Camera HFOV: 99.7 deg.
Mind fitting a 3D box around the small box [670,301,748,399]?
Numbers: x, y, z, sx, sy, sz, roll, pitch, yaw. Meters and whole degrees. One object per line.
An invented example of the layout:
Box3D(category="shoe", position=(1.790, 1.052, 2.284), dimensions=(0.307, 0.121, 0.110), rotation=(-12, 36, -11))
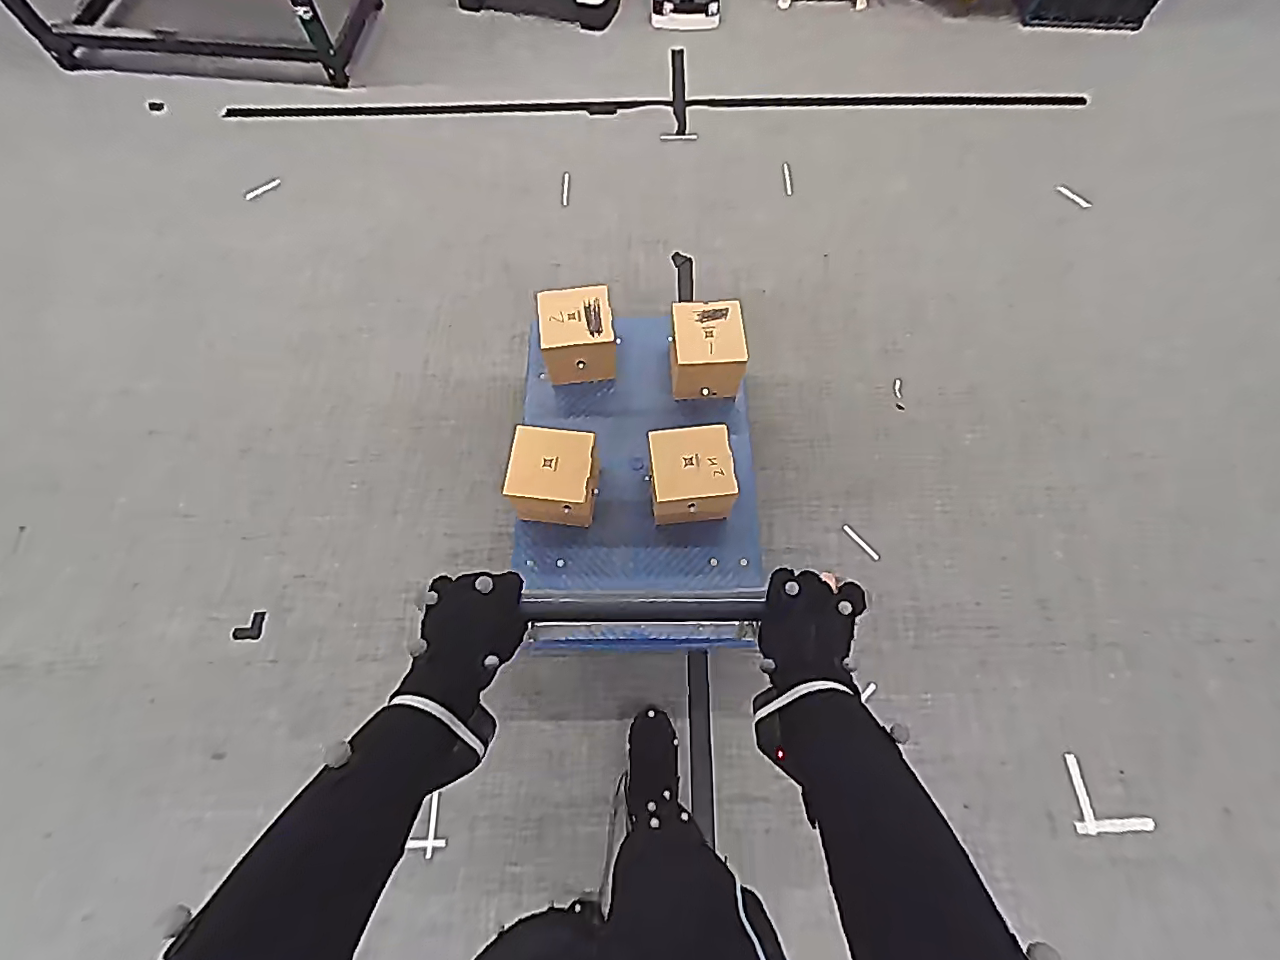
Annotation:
Box3D(category="small box", position=(0.164, -0.319, 1.343), dimensions=(0.168, 0.176, 0.179), rotation=(-3, 70, -1))

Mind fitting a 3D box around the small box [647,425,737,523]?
Box3D(category="small box", position=(0.110, -0.007, 1.221), dimensions=(0.179, 0.176, 0.168), rotation=(-5, 69, -2))

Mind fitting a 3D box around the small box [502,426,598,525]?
Box3D(category="small box", position=(-0.194, -0.005, 1.220), dimensions=(0.179, 0.176, 0.168), rotation=(7, 68, 0))
